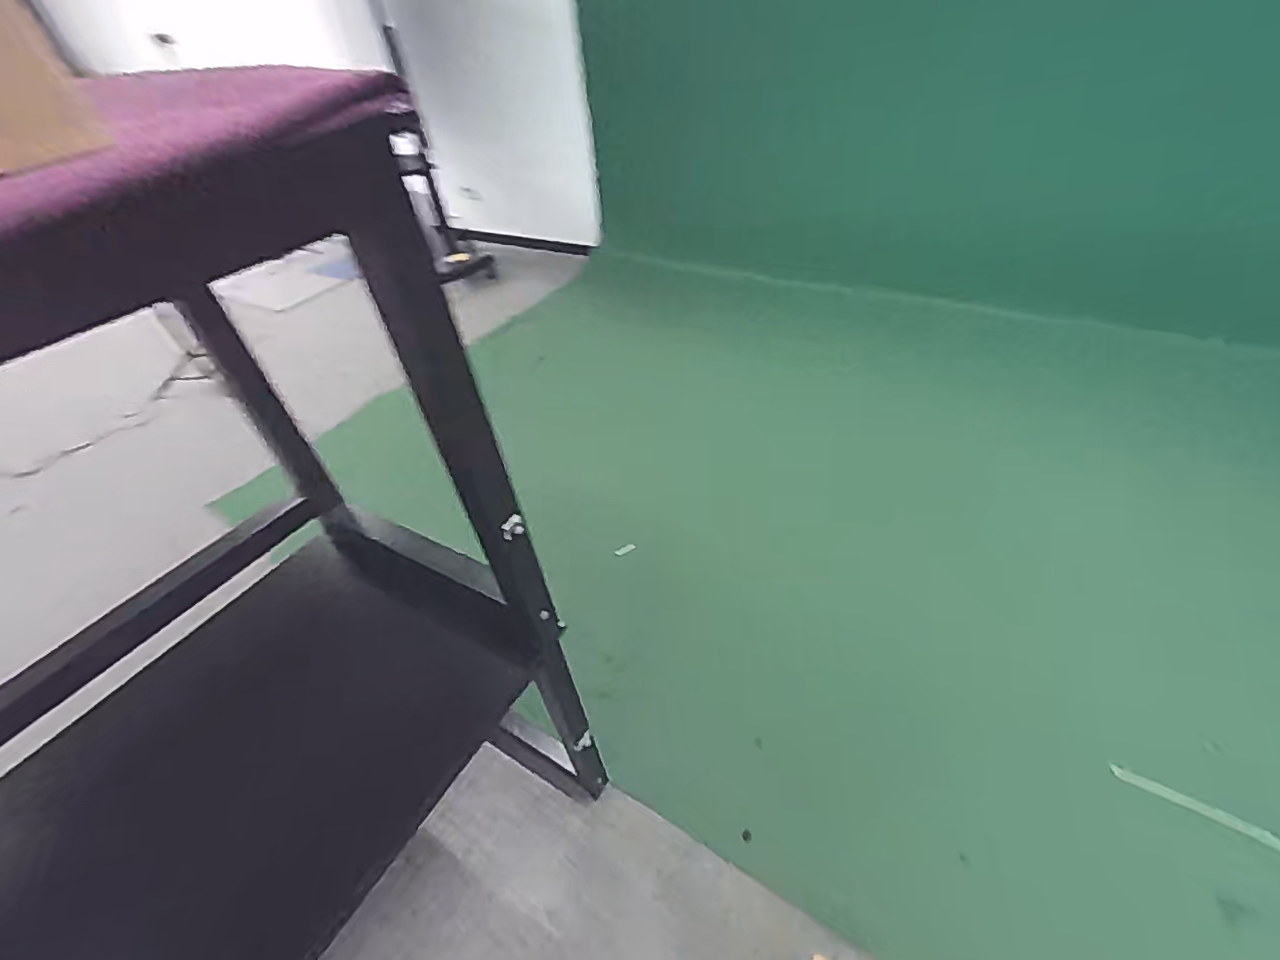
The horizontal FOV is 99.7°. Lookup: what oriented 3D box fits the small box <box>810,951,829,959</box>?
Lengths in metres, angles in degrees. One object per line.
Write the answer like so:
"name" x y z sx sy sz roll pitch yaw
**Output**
"small box" 0.361 1.008 0.969 0.168 0.176 0.179 17 47 25
